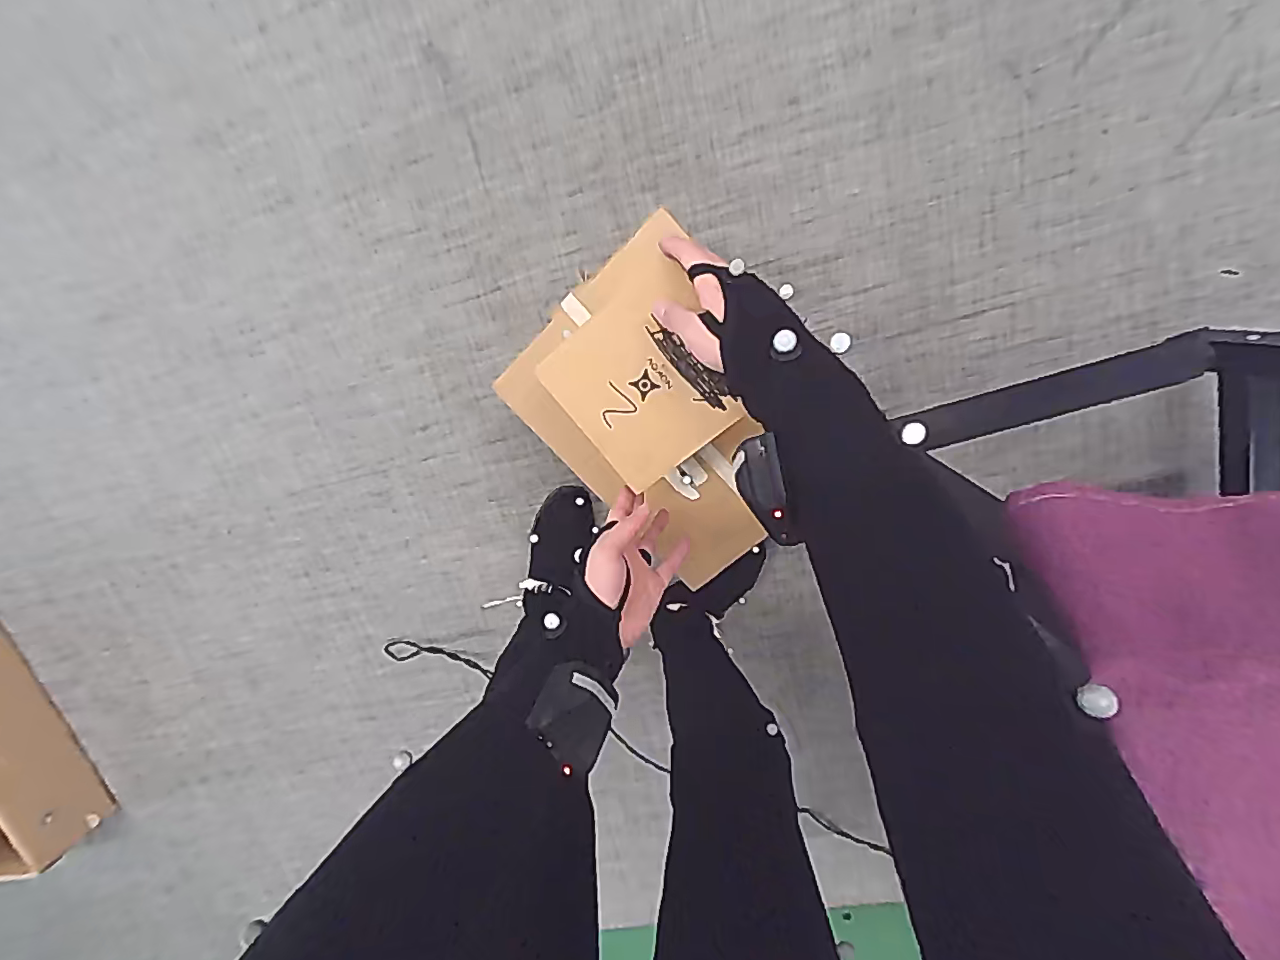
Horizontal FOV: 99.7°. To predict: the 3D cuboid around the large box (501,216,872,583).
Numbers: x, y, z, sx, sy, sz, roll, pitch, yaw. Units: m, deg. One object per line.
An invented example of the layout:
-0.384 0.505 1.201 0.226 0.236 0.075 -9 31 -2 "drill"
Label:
0.068 -0.128 0.851 0.320 0.320 0.408 -42 100 16 "large box"
